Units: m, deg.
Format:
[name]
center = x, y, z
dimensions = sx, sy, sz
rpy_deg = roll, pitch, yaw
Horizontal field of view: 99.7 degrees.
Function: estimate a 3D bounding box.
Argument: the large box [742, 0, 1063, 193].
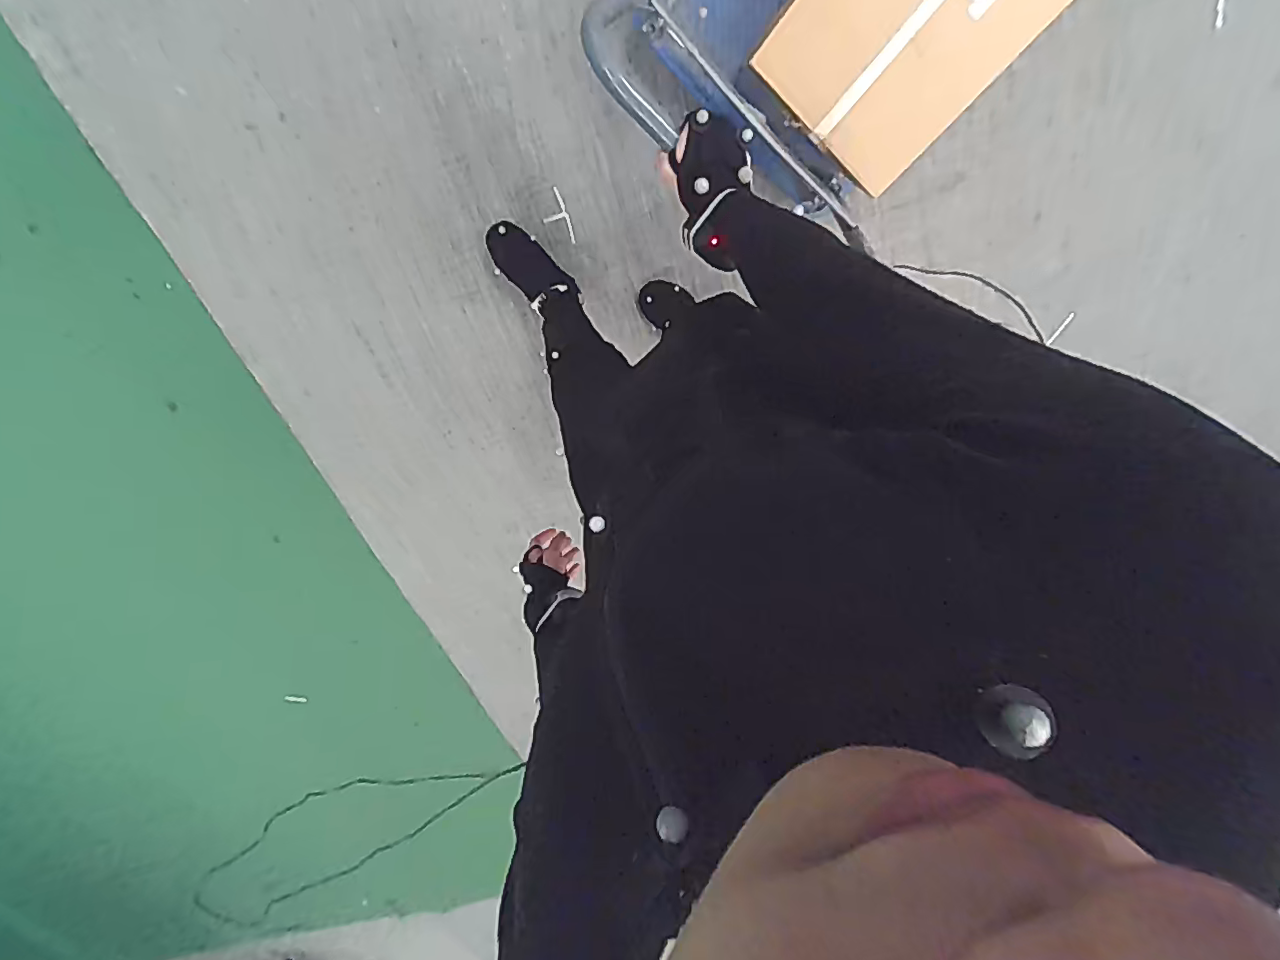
[large box]
center = 0.425, -0.784, 0.917
dimensions = 0.320, 0.320, 0.408
rpy_deg = 35, 123, -19
